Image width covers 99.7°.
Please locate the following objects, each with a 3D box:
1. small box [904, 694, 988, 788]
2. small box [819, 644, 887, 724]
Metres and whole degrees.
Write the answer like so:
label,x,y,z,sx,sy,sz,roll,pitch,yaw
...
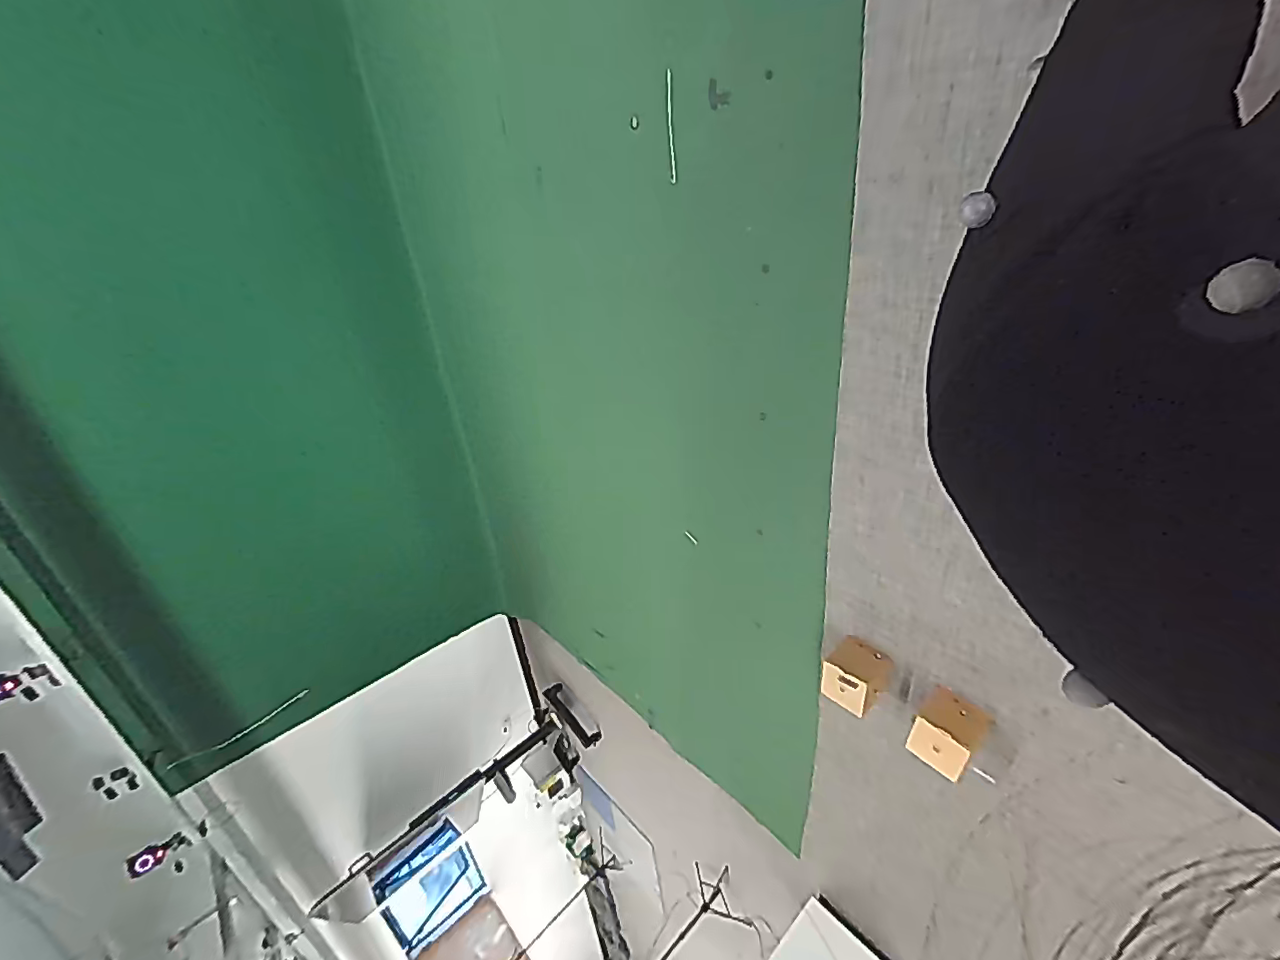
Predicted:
label,x,y,z,sx,sy,sz,roll,pitch,yaw
small box,0.985,0.834,1.741,0.168,0.176,0.179,29,132,40
small box,0.771,0.728,1.952,0.168,0.176,0.179,24,130,43
